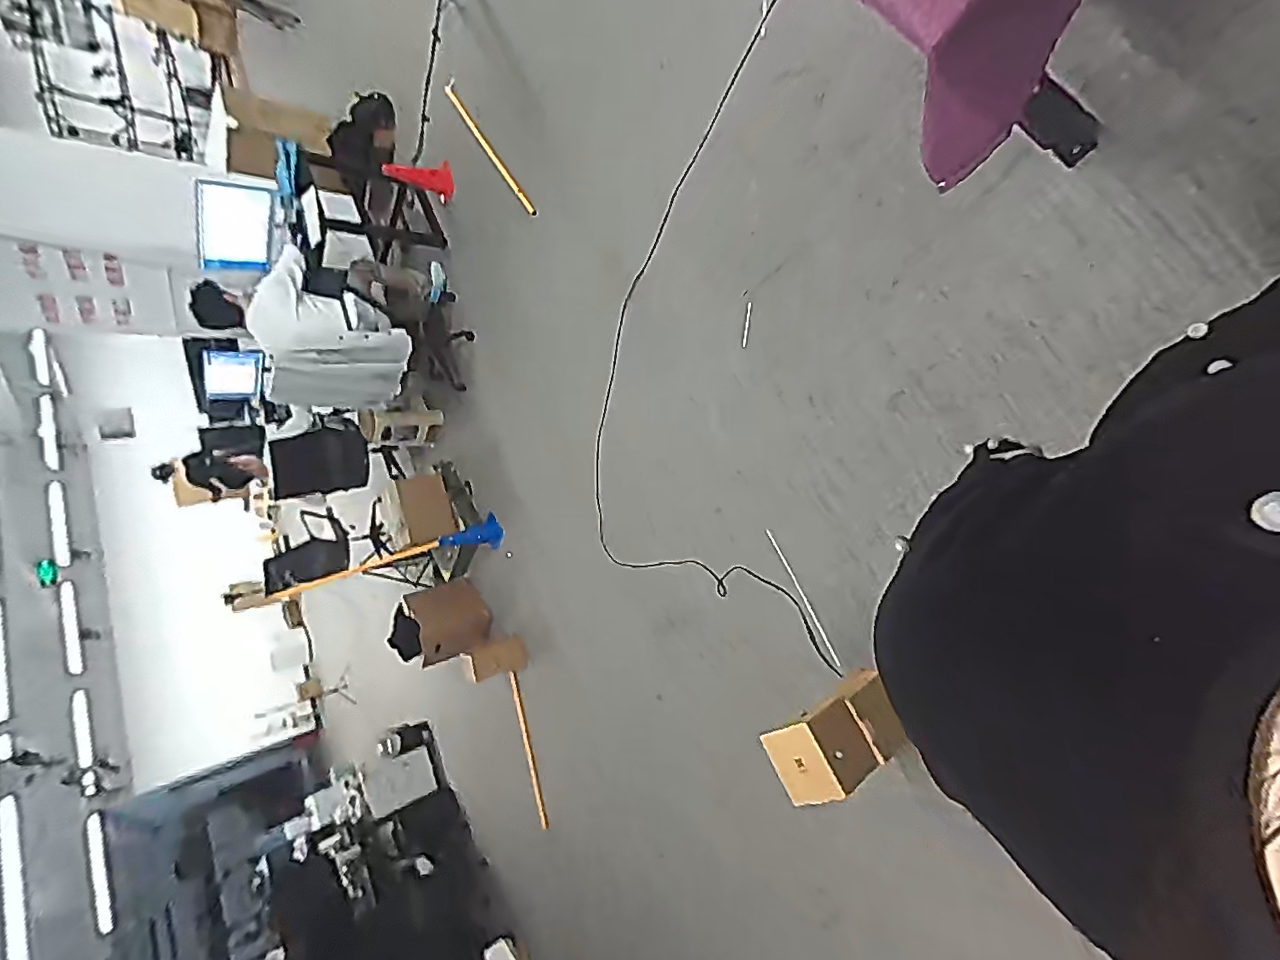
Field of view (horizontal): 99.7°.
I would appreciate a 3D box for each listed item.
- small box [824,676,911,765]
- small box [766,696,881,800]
[{"bbox_3d":[0.587,0.644,1.438,0.179,0.176,0.168,-46,63,44],"label":"small box"},{"bbox_3d":[0.456,0.657,1.341,0.168,0.176,0.179,-45,65,44],"label":"small box"}]
